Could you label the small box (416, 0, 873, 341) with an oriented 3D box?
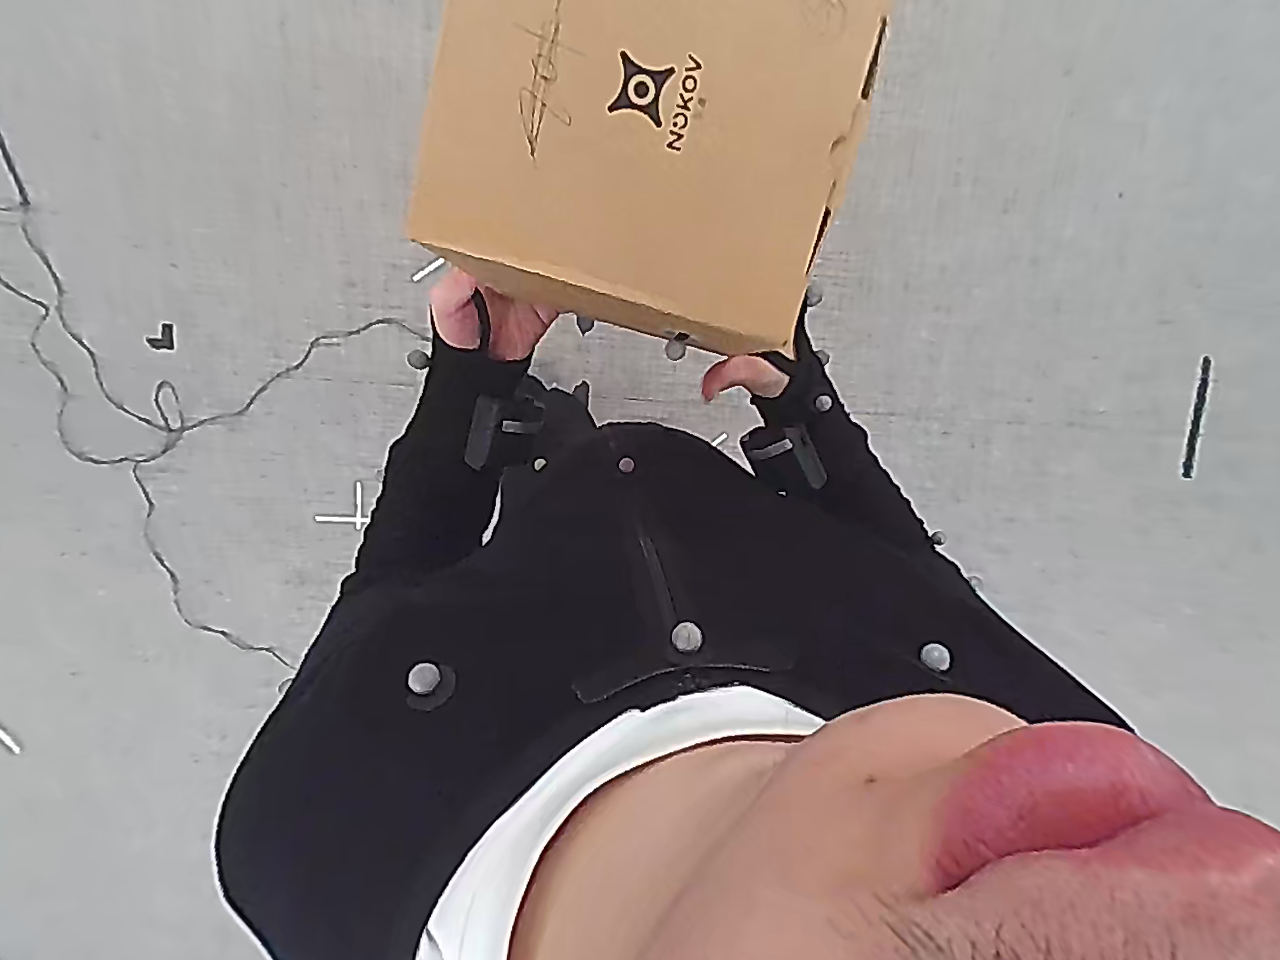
[{"bbox_3d":[-0.001,-0.182,0.314,0.179,0.176,0.168,13,99,-4],"label":"small box"}]
